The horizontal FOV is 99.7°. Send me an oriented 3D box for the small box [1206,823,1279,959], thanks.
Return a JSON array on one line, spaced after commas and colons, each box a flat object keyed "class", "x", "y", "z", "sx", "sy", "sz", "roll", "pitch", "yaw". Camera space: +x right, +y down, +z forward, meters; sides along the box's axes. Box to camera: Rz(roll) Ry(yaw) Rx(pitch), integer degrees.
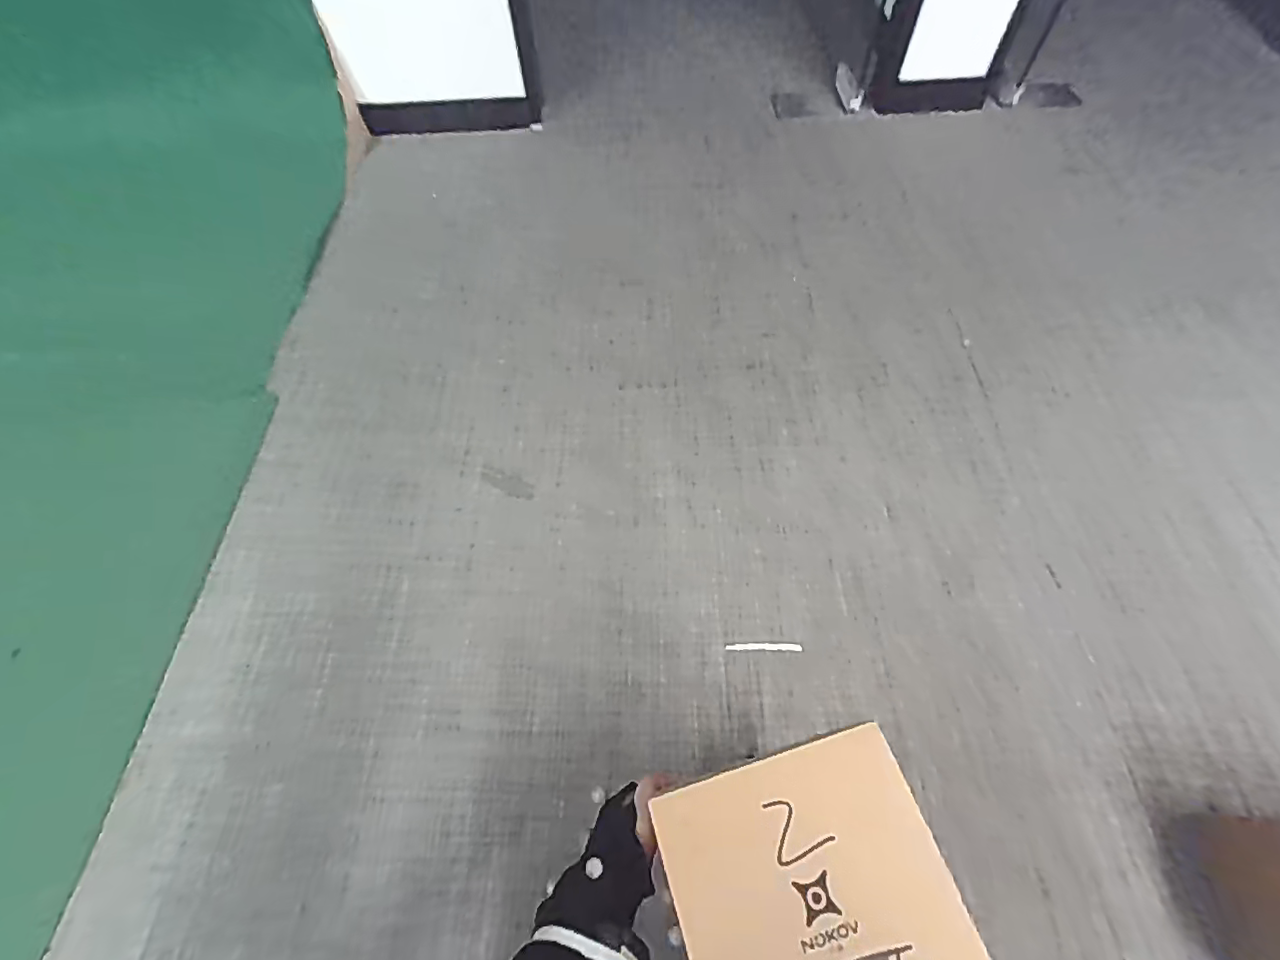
[{"class": "small box", "x": 0.741, "y": 0.463, "z": 0.542, "sx": 0.168, "sy": 0.176, "sz": 0.179, "roll": 10, "pitch": 60, "yaw": 9}]
